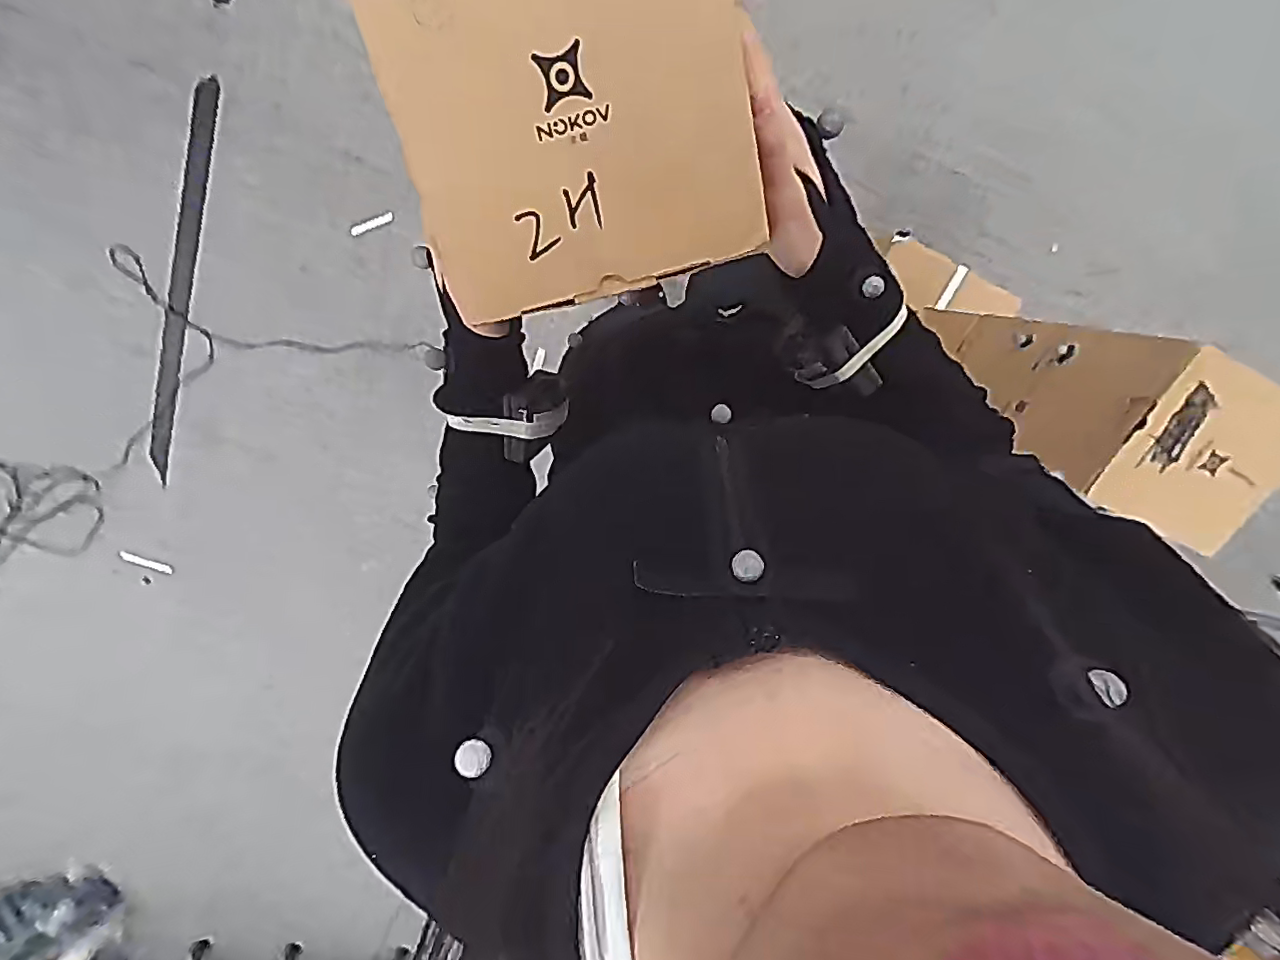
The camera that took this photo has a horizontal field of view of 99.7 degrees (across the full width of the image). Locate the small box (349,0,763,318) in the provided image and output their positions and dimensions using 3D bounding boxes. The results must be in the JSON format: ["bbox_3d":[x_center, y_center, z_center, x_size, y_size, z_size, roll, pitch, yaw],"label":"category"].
[{"bbox_3d":[-0.034,-0.210,0.325,0.168,0.176,0.179,-13,111,8],"label":"small box"}]

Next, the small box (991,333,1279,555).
[{"bbox_3d":[0.545,-0.050,0.597,0.179,0.176,0.168,23,109,-10],"label":"small box"}]

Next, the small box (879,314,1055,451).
[{"bbox_3d":[0.543,-0.168,0.904,0.179,0.176,0.168,21,109,-8],"label":"small box"}]

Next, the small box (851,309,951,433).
[{"bbox_3d":[0.546,-0.221,1.058,0.168,0.176,0.179,20,110,-8],"label":"small box"}]
